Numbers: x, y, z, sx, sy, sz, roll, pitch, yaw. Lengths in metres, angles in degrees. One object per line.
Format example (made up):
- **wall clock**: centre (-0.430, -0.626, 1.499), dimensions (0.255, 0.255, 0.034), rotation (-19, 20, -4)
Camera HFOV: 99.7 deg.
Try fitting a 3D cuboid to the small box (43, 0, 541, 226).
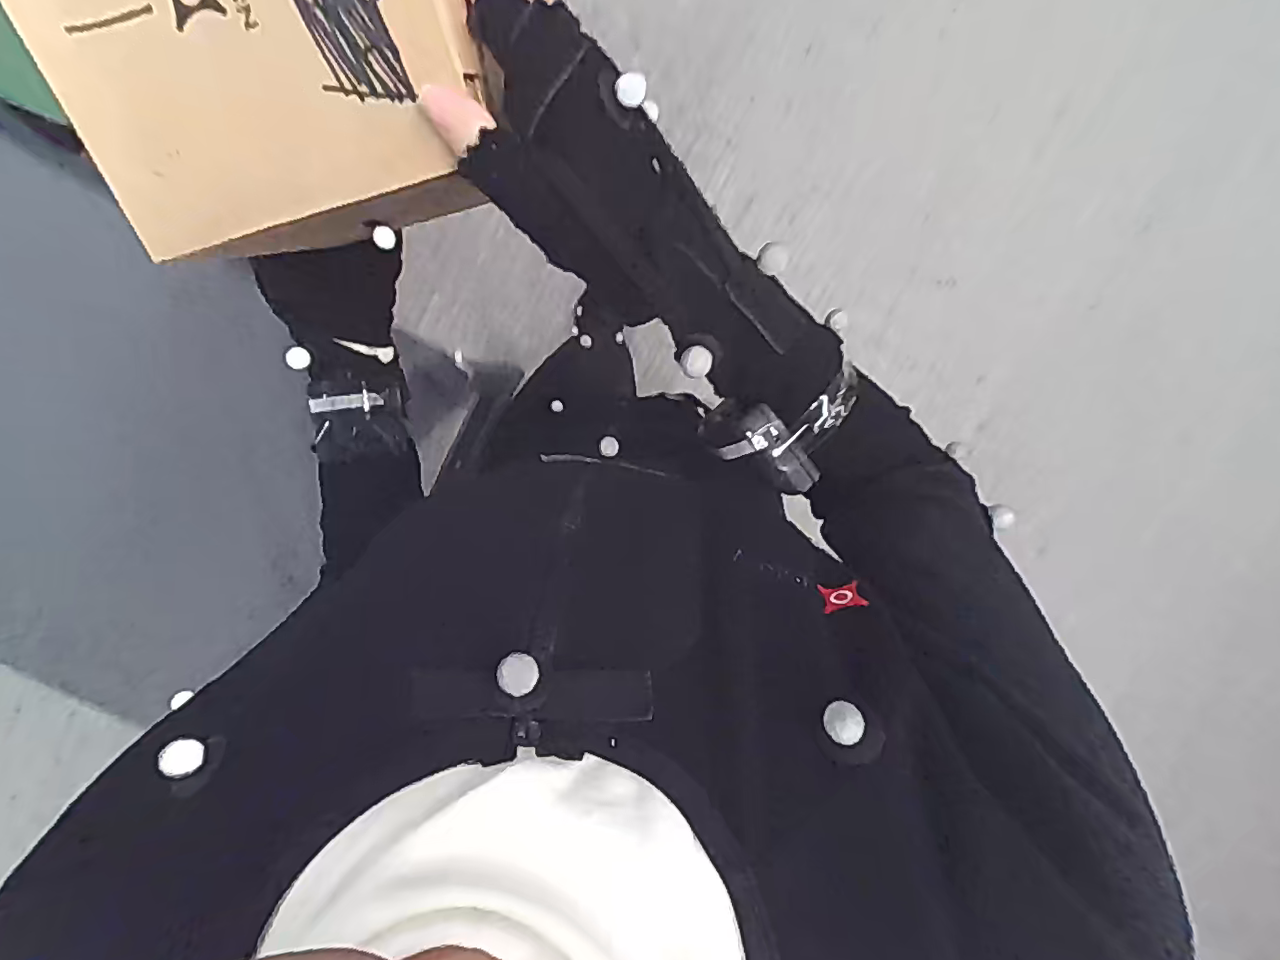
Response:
- **small box**: centre (-0.163, -0.248, 0.292), dimensions (0.179, 0.176, 0.168), rotation (-12, 115, 8)
